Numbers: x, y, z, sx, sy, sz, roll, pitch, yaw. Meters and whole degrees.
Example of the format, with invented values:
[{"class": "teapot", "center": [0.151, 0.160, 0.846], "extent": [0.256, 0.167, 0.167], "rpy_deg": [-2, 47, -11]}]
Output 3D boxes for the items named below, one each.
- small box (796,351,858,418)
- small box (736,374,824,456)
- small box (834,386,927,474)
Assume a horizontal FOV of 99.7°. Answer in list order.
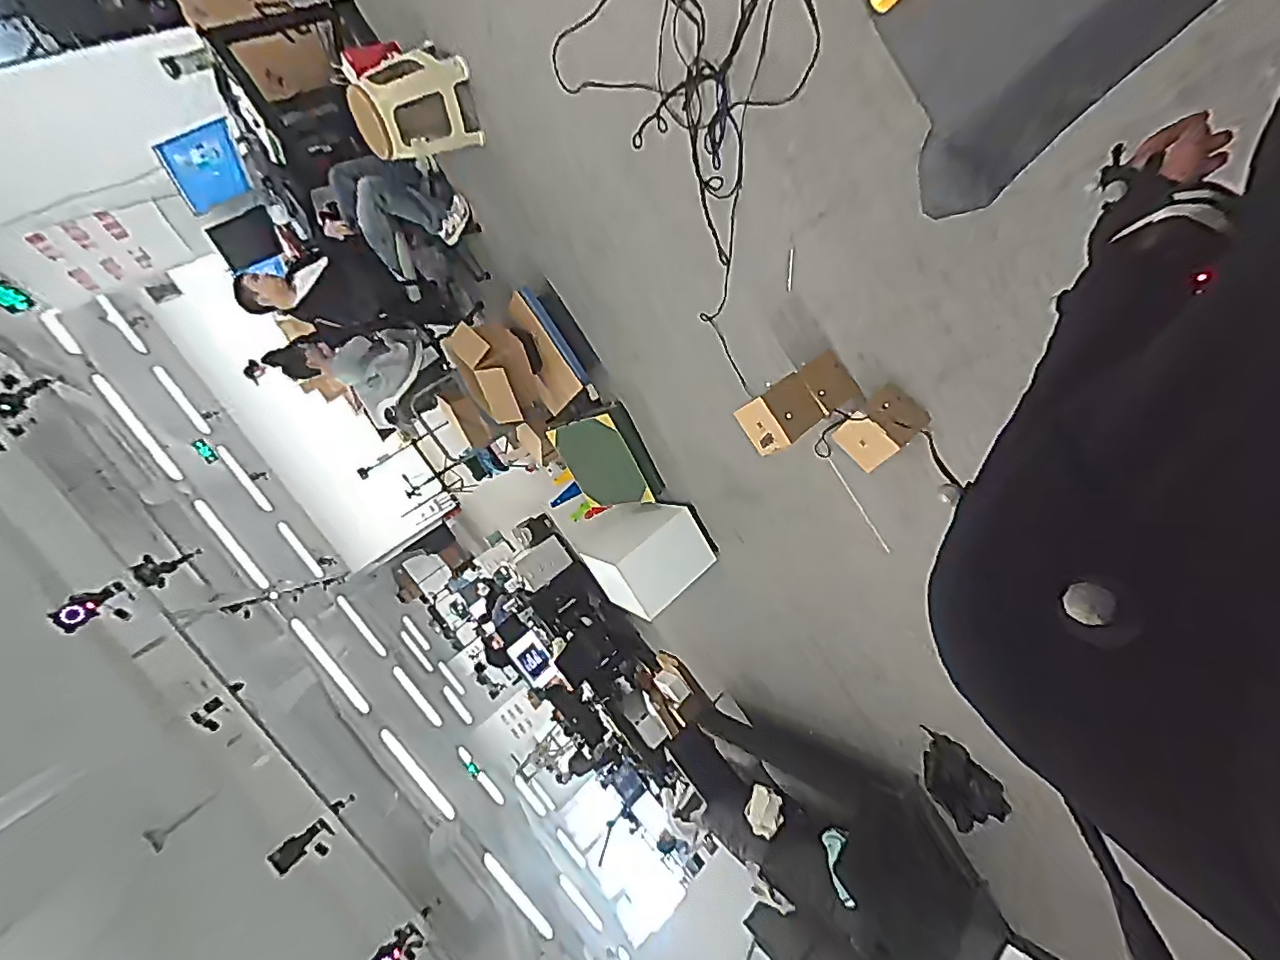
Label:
[{"class": "small box", "center": [0.577, -0.291, 1.782], "extent": [0.168, 0.176, 0.179], "rpy_deg": [53, 158, 2]}, {"class": "small box", "center": [0.448, -0.207, 1.723], "extent": [0.179, 0.176, 0.168], "rpy_deg": [55, 157, -3]}, {"class": "small box", "center": [0.744, -0.157, 1.665], "extent": [0.168, 0.176, 0.179], "rpy_deg": [48, 157, 13]}]
